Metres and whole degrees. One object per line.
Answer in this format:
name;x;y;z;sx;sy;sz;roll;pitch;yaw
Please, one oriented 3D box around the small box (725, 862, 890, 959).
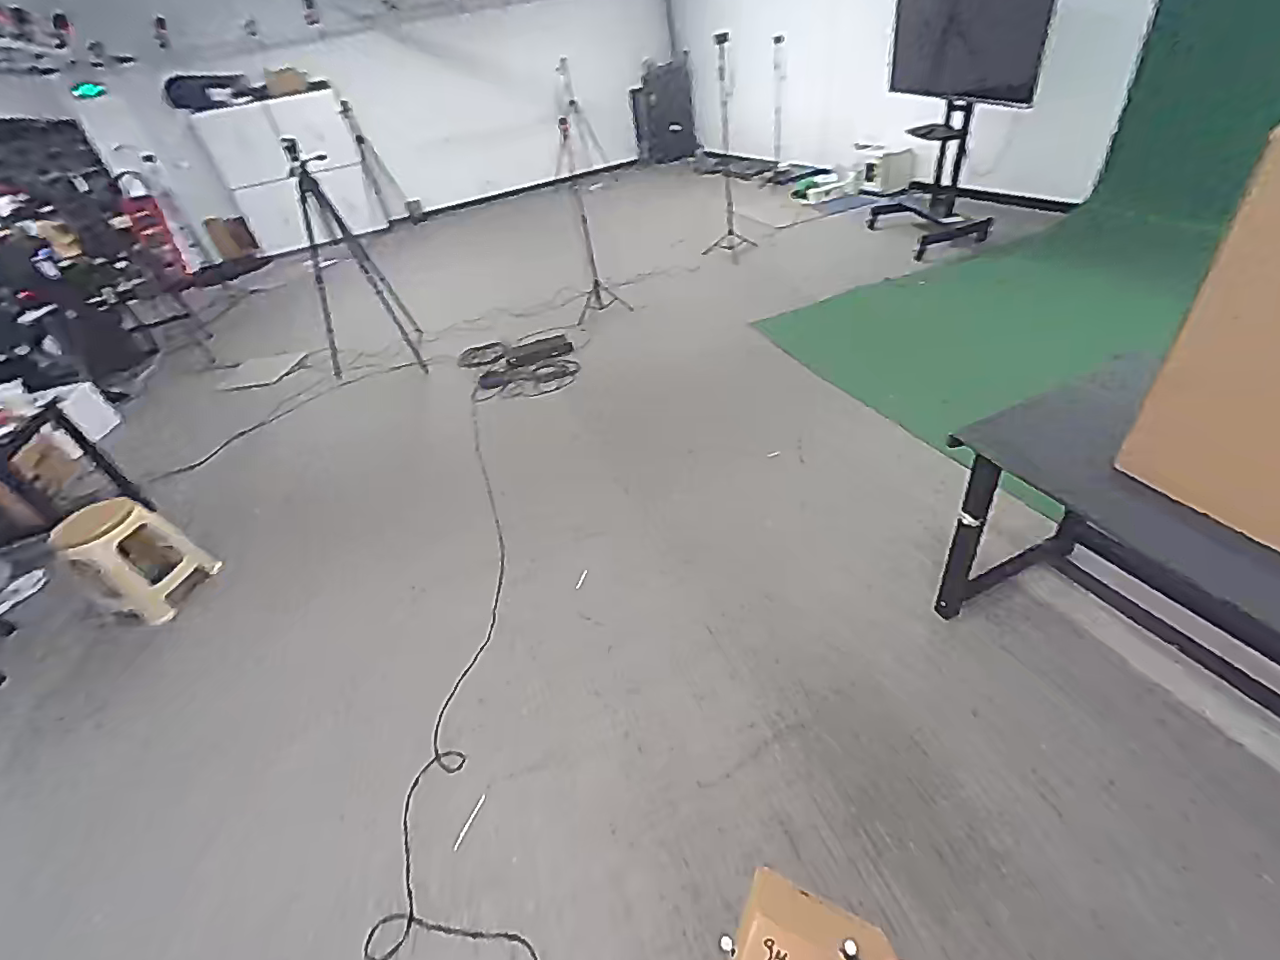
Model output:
small box;0.181;0.584;0.609;0.168;0.176;0.179;18;77;19
